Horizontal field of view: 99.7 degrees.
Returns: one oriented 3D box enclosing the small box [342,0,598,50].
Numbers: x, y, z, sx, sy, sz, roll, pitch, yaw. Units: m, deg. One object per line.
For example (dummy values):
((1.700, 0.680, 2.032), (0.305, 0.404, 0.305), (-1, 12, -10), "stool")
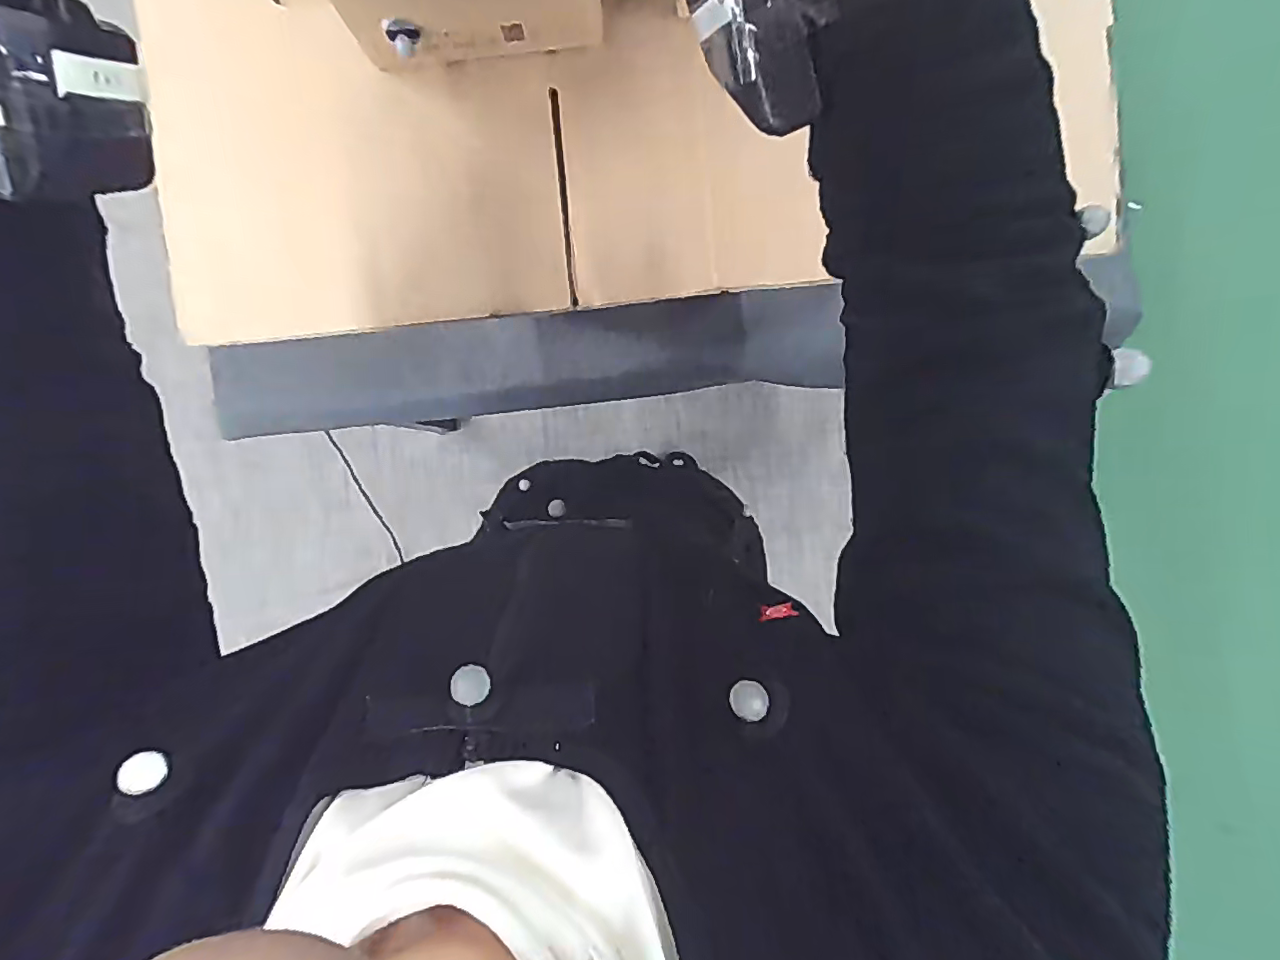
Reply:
((-0.118, -0.387, 0.306), (0.168, 0.176, 0.179), (-6, 92, 0), "small box")
